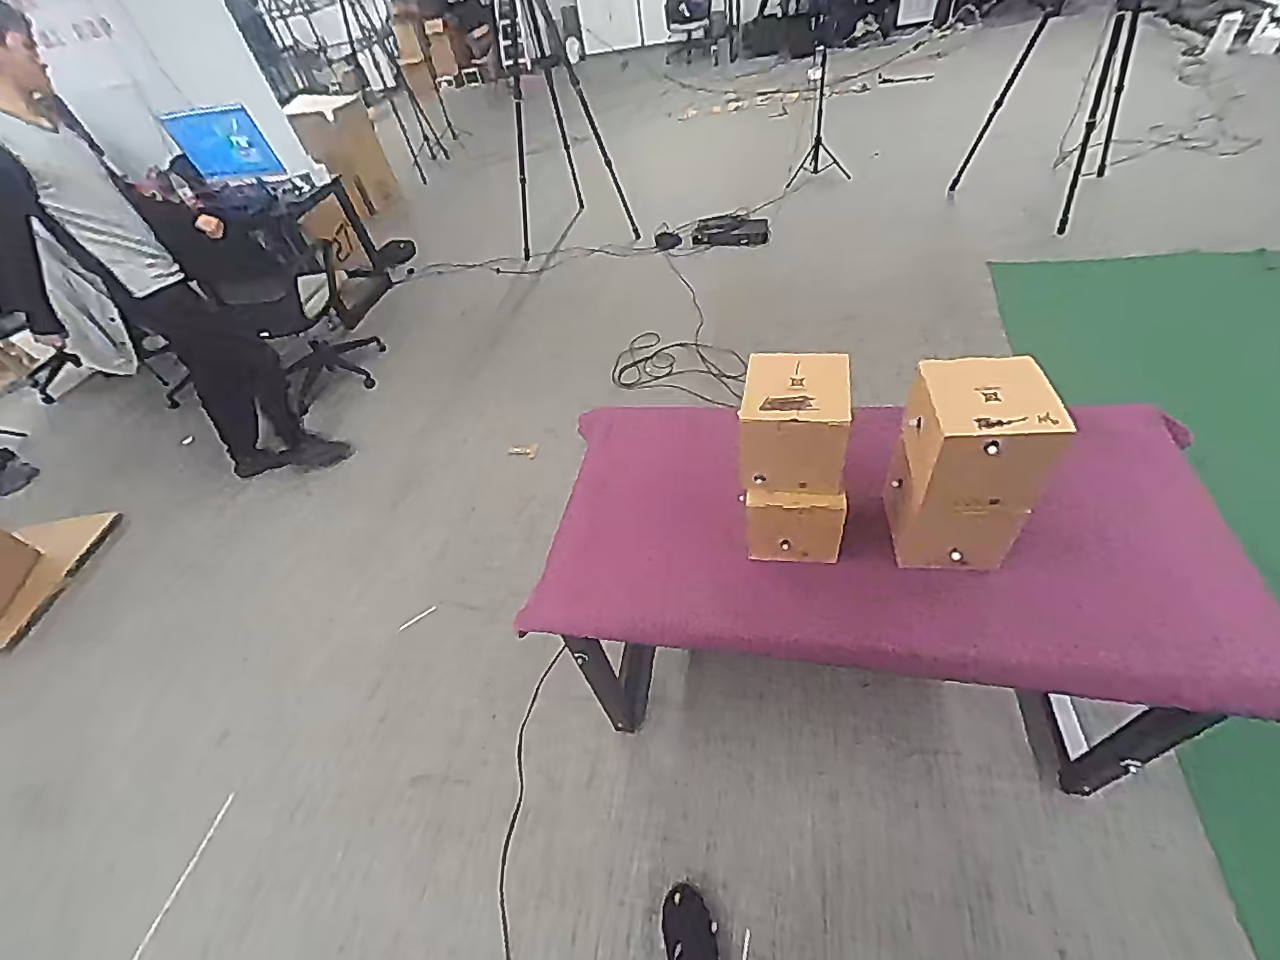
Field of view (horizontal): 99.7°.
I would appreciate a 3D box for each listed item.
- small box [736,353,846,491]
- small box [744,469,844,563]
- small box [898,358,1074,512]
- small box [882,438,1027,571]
[{"bbox_3d":[0.260,-0.099,0.928,0.168,0.176,0.179,4,48,15],"label":"small box"},{"bbox_3d":[0.285,0.035,1.026,0.168,0.176,0.179,1,49,12],"label":"small box"},{"bbox_3d":[0.519,-0.070,0.845,0.168,0.176,0.179,-1,47,11],"label":"small box"},{"bbox_3d":[0.543,0.041,0.964,0.168,0.176,0.179,0,48,12],"label":"small box"}]
